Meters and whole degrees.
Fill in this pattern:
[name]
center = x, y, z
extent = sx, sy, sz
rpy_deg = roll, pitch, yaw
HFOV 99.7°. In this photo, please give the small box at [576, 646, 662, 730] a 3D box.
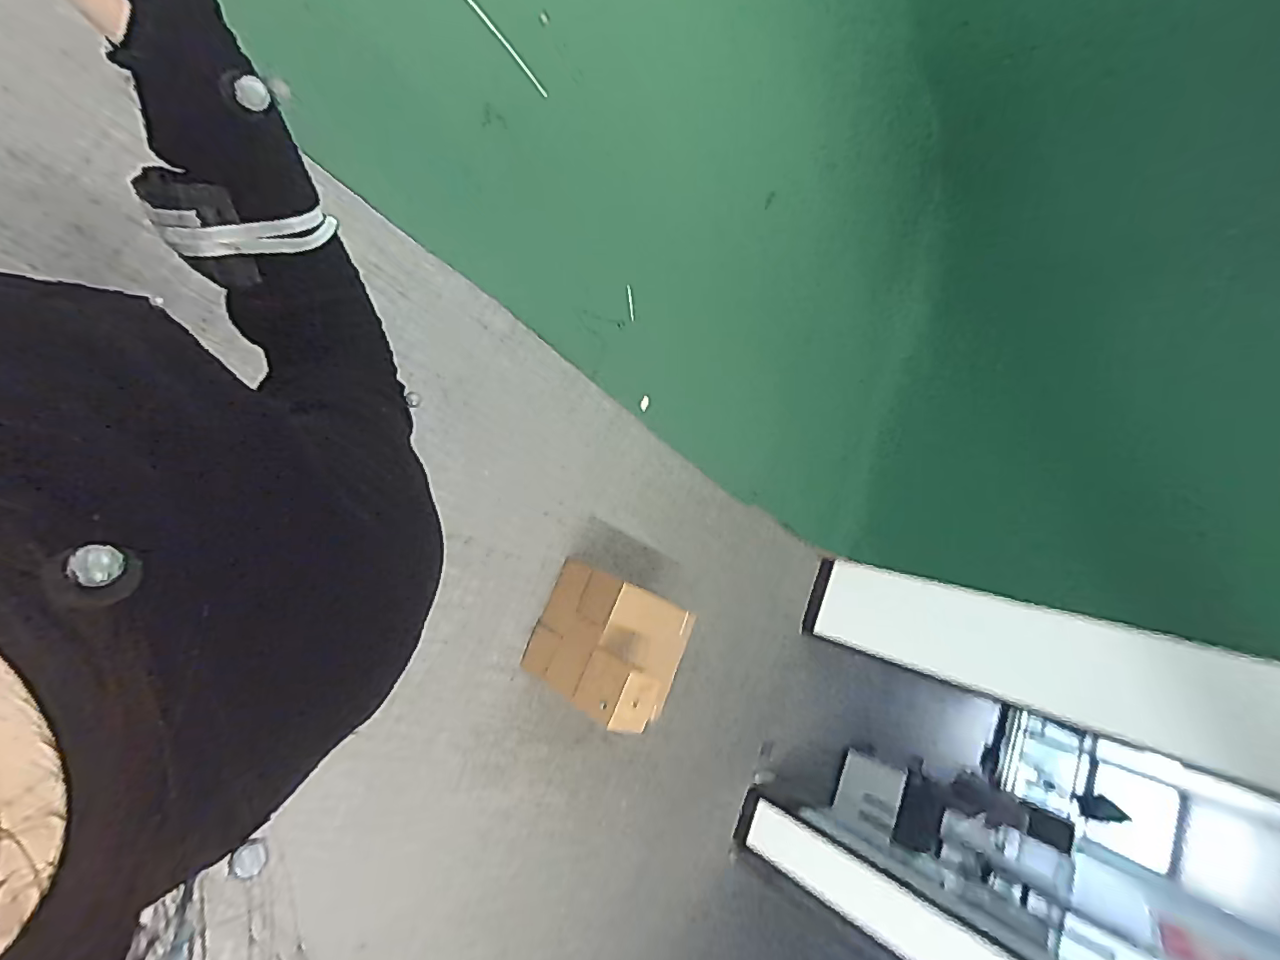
[small box]
center = -0.069, 0.634, 1.657
extent = 0.168, 0.176, 0.179
rpy_deg = 35, 74, -43
